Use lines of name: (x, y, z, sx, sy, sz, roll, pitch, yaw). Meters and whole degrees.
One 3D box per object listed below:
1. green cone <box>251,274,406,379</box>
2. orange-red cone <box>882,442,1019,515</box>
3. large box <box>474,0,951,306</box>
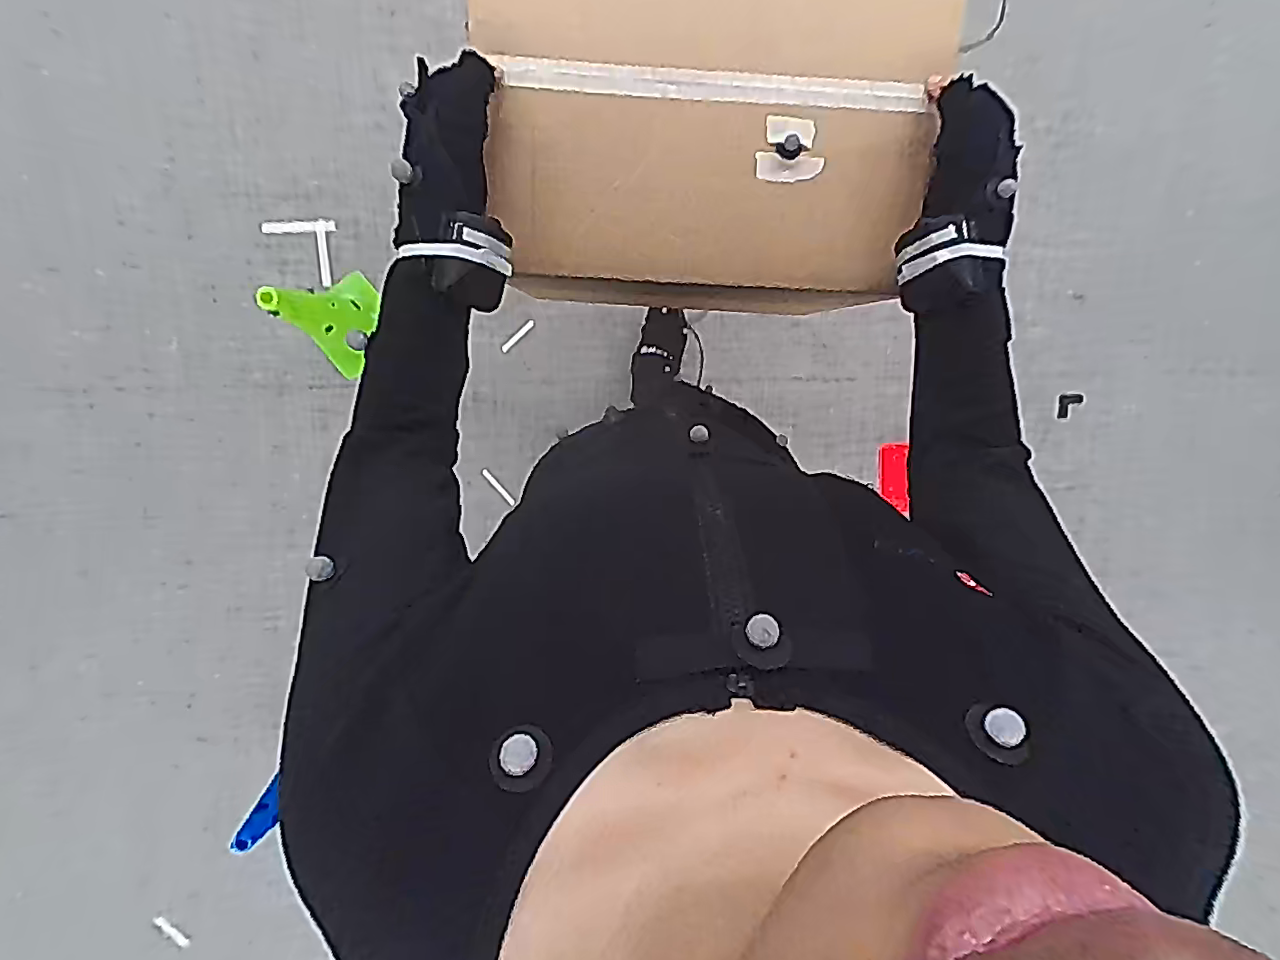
green cone: (-0.712, -0.361, 1.186, 0.202, 0.368, 0.200, -38, 97, 3)
orange-red cone: (0.773, 0.014, 1.320, 0.198, 0.360, 0.199, -4, 96, -4)
large box: (0.053, -0.373, 0.604, 0.408, 0.320, 0.320, 2, 104, -3)
